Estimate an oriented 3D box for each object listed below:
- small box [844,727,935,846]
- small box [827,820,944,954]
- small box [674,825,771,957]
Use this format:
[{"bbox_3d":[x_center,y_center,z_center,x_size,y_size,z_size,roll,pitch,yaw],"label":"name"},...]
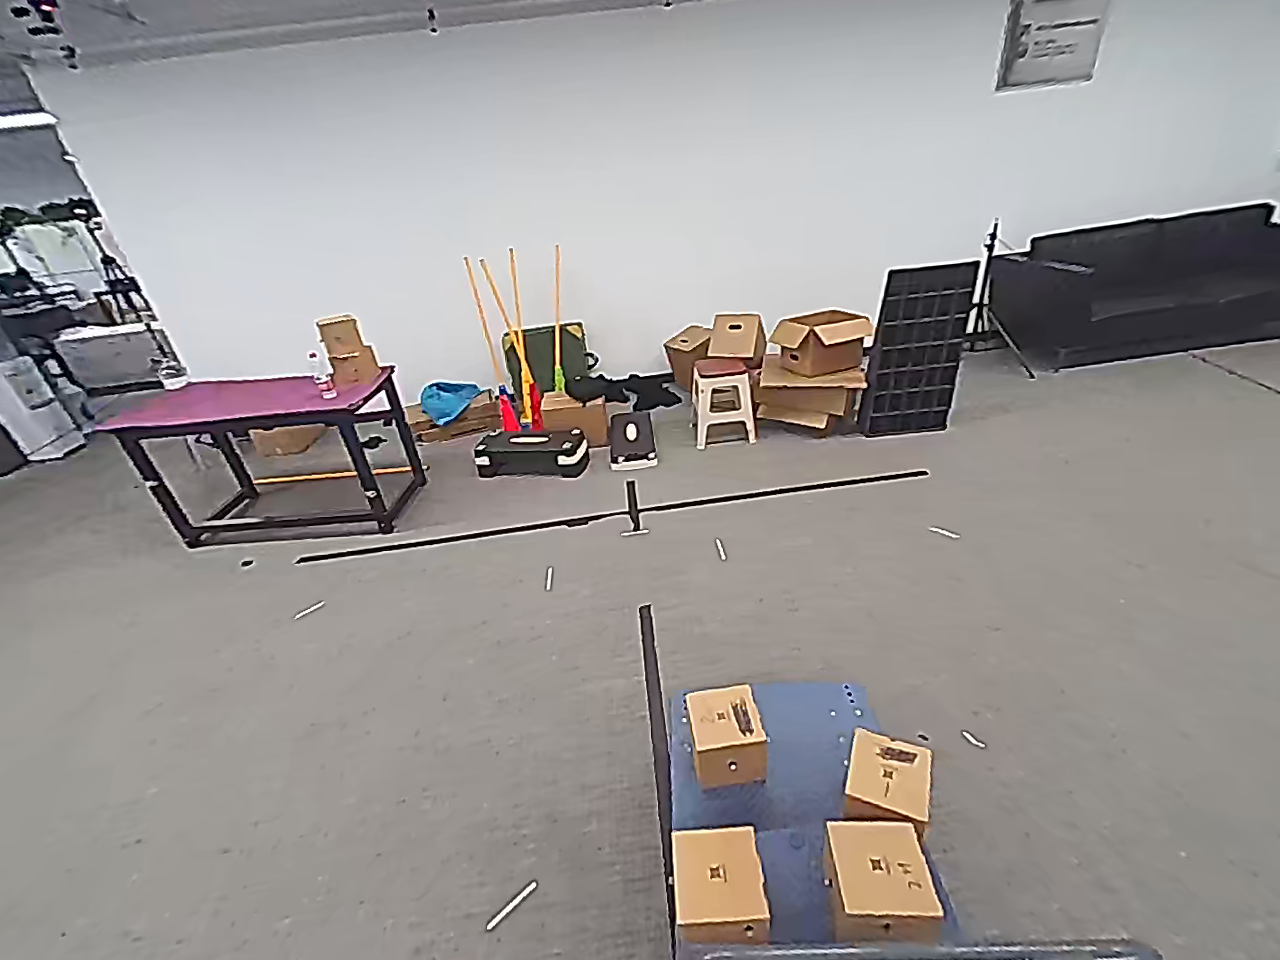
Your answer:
[{"bbox_3d":[0.570,0.717,1.245,0.168,0.176,0.179,8,34,26],"label":"small box"},{"bbox_3d":[0.482,0.818,1.090,0.179,0.176,0.168,-4,30,8],"label":"small box"},{"bbox_3d":[0.167,0.848,1.115,0.179,0.176,0.168,-5,30,2],"label":"small box"}]
